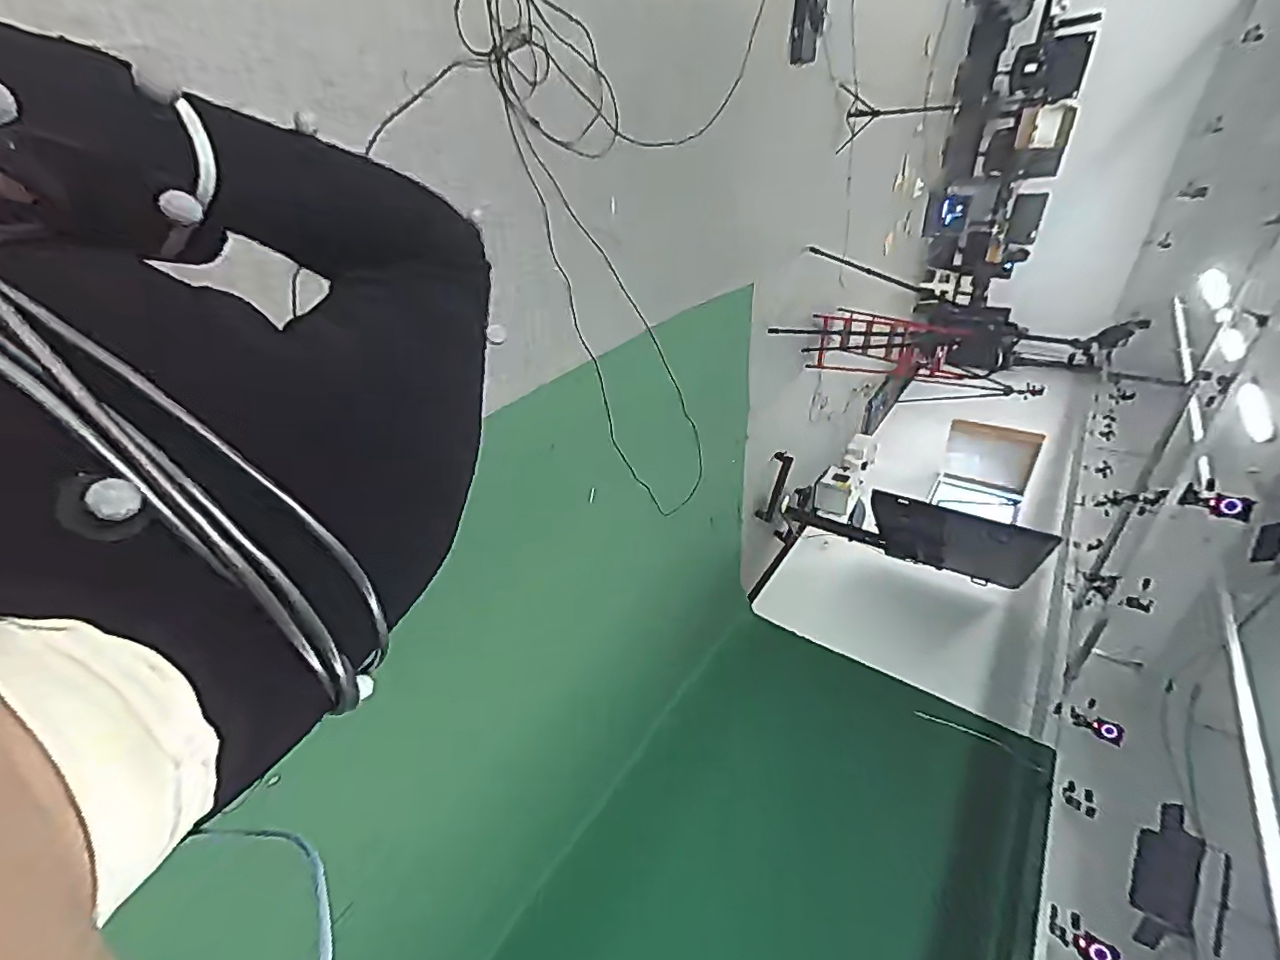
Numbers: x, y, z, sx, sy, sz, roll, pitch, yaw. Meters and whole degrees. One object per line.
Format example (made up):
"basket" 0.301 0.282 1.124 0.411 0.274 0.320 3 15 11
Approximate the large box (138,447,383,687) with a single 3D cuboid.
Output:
"large box" -0.871 0.183 1.274 0.320 0.320 0.408 -30 130 -47
